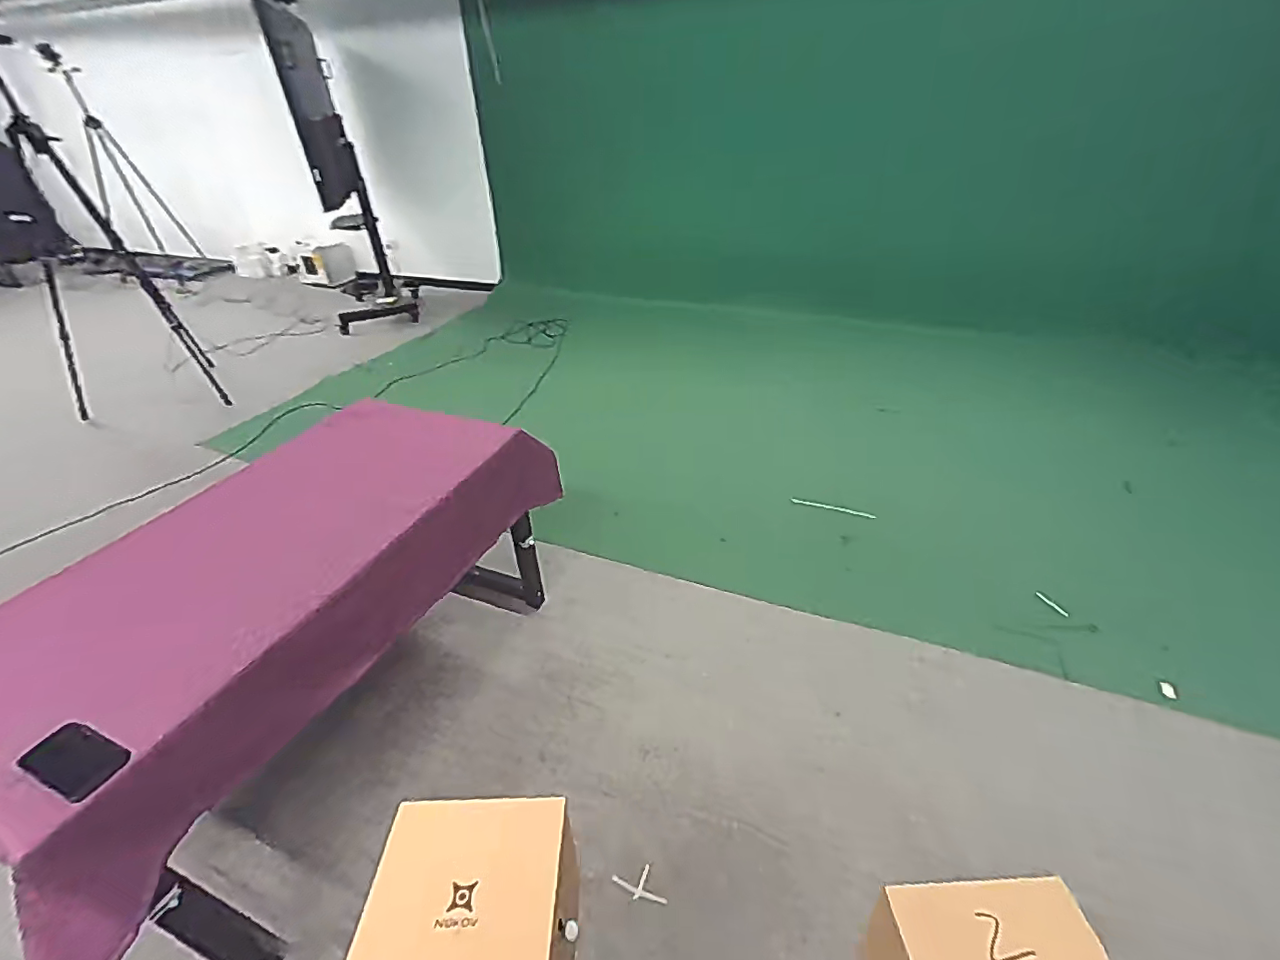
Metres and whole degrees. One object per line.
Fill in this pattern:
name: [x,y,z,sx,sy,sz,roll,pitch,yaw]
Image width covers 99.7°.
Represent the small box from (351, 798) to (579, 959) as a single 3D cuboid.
small box: [-0.148,0.430,0.504,0.168,0.176,0.179,-2,33,0]
